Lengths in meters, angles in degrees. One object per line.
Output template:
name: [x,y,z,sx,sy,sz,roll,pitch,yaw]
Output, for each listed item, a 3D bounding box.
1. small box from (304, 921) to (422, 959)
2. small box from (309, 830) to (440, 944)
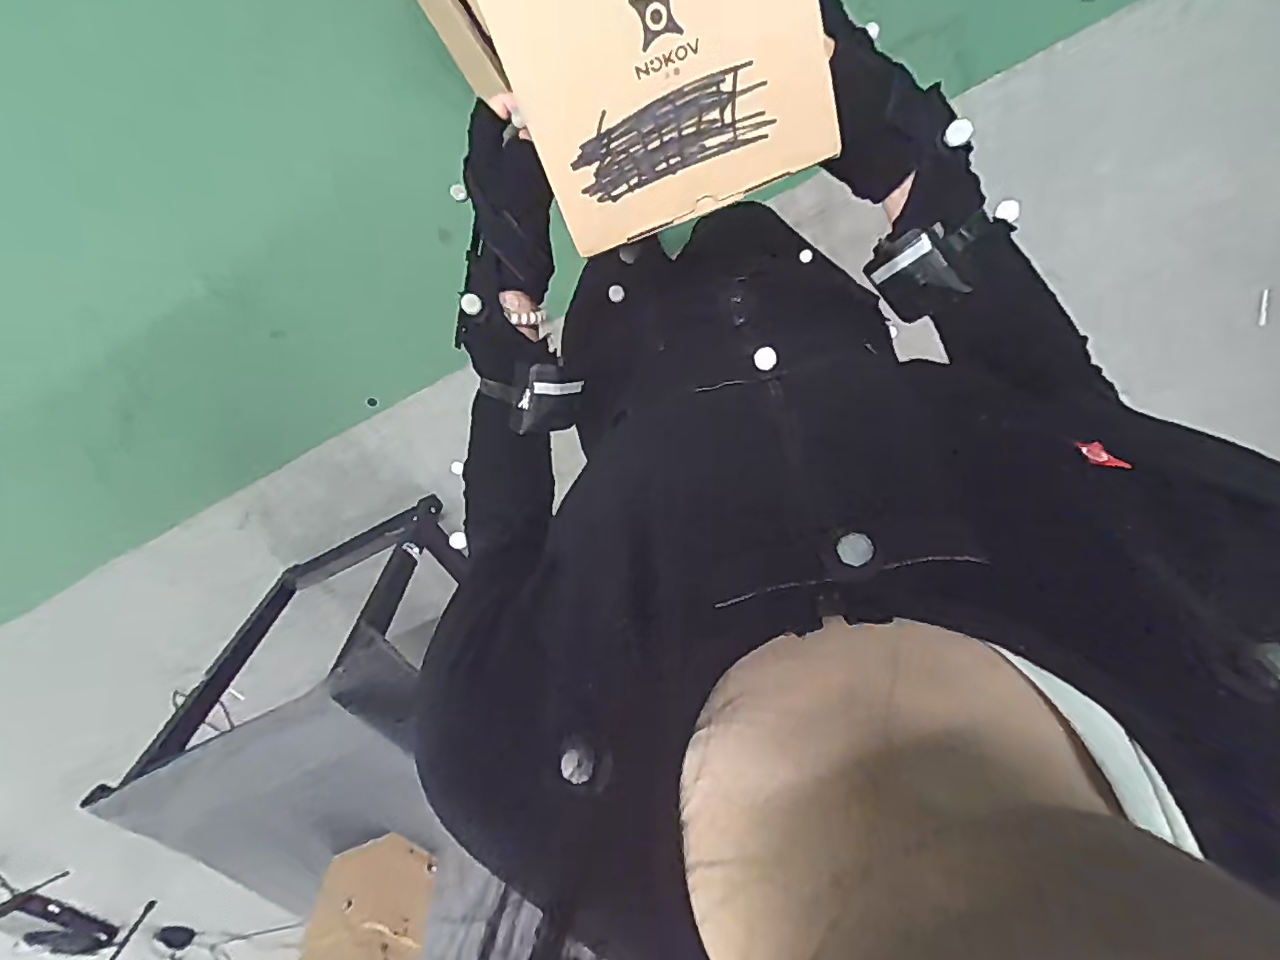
small box: [-0.555,0.995,1.041,0.179,0.176,0.168,-28,119,11]
small box: [-0.559,0.896,1.173,0.179,0.176,0.168,-26,119,12]
